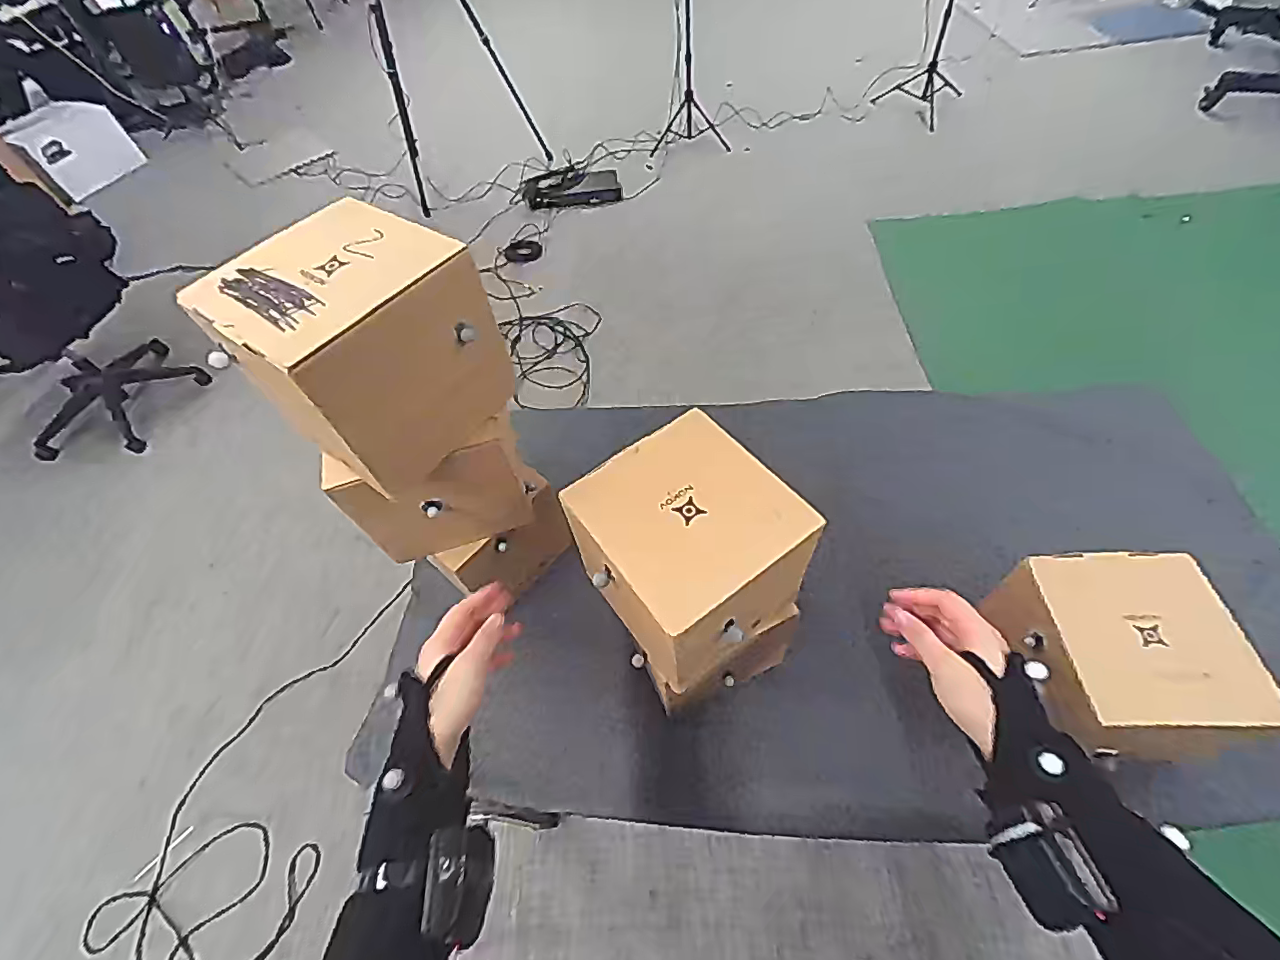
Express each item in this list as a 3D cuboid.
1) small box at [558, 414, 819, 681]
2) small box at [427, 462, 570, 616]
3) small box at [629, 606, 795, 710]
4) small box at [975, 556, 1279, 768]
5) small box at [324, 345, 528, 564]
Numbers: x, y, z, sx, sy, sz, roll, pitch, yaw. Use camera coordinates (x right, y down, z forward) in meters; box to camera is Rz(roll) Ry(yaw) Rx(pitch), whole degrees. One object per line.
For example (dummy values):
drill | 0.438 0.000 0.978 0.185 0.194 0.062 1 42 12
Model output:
small box | 0.046 0.075 0.538 0.168 0.176 0.179 -33 57 -16
small box | -0.226 0.066 0.780 0.179 0.176 0.168 33 64 26
small box | 0.068 0.164 0.672 0.168 0.176 0.179 -23 55 -11
small box | 0.504 0.201 0.591 0.168 0.176 0.179 -3 53 6
small box | -0.243 -0.025 0.643 0.179 0.176 0.168 -18 55 -6
